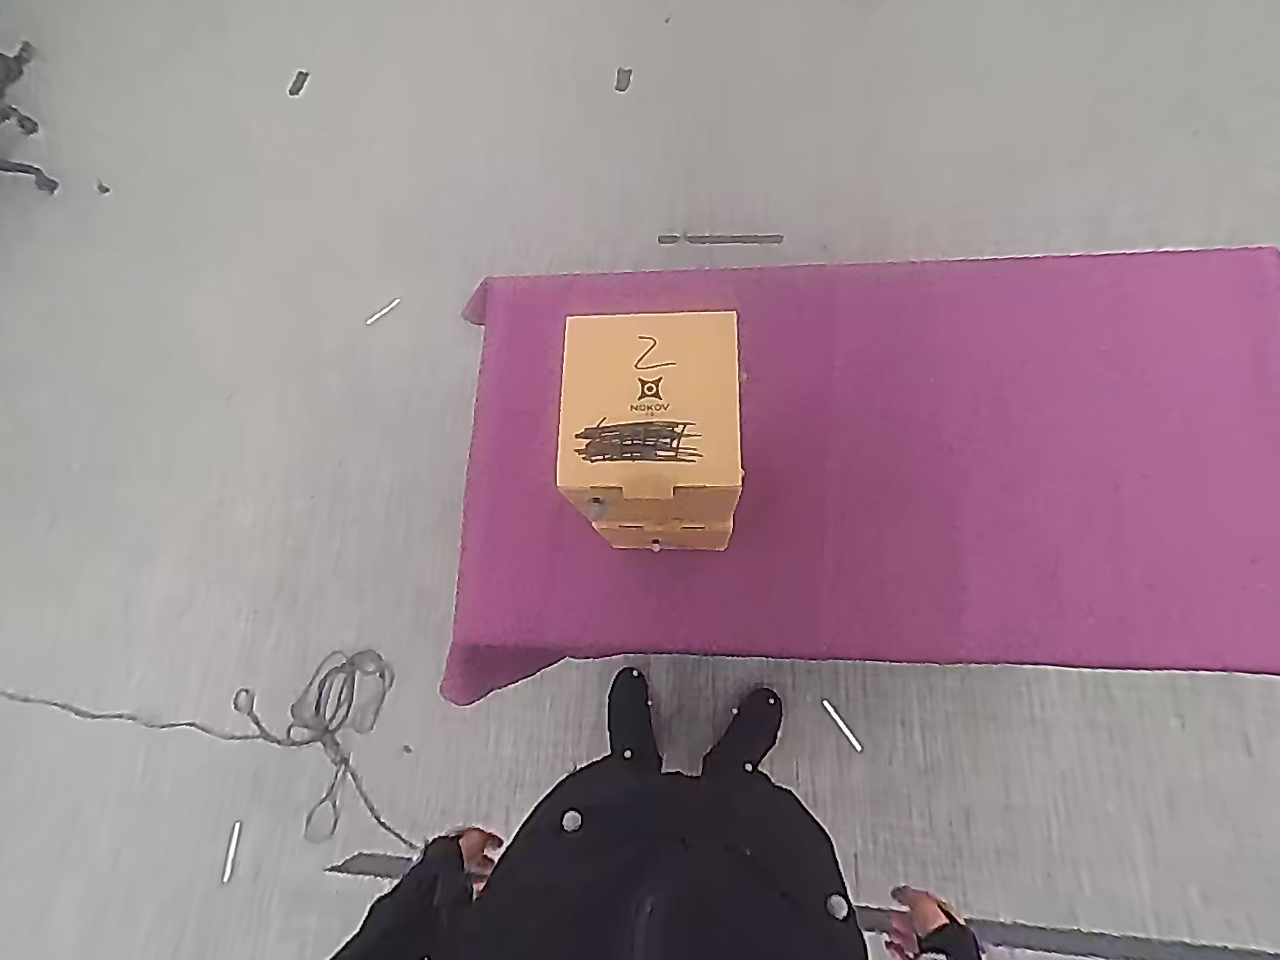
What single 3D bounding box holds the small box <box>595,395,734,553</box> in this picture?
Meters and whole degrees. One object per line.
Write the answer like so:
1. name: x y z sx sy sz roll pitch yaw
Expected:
1. small box: 0.038 -0.001 0.730 0.168 0.176 0.179 1 76 6
